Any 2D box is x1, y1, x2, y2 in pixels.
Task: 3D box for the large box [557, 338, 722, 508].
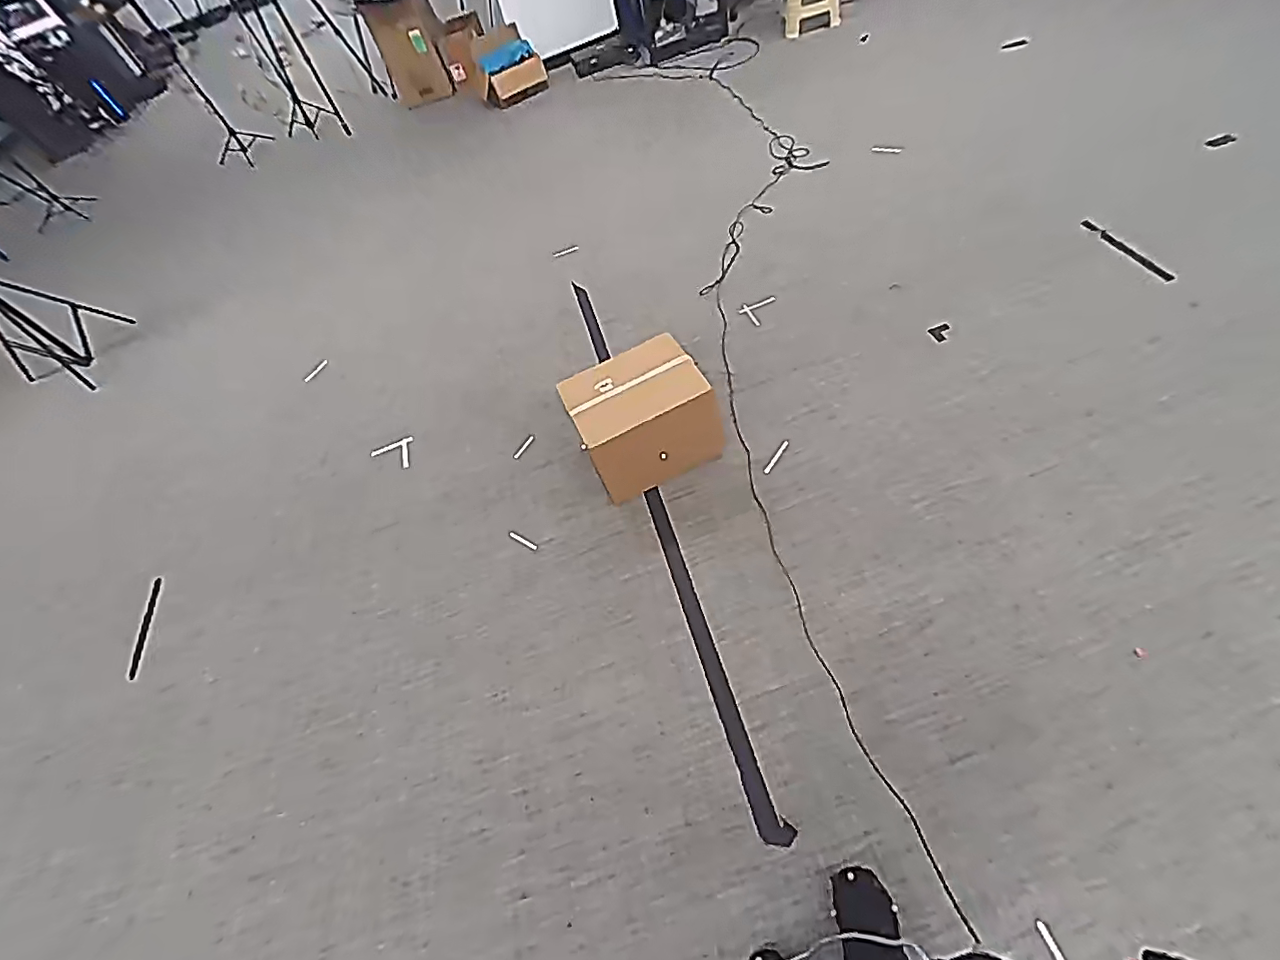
[{"bbox_3d":[0.006,-0.179,1.744,0.408,0.320,0.320,-27,52,-3],"label":"large box"}]
